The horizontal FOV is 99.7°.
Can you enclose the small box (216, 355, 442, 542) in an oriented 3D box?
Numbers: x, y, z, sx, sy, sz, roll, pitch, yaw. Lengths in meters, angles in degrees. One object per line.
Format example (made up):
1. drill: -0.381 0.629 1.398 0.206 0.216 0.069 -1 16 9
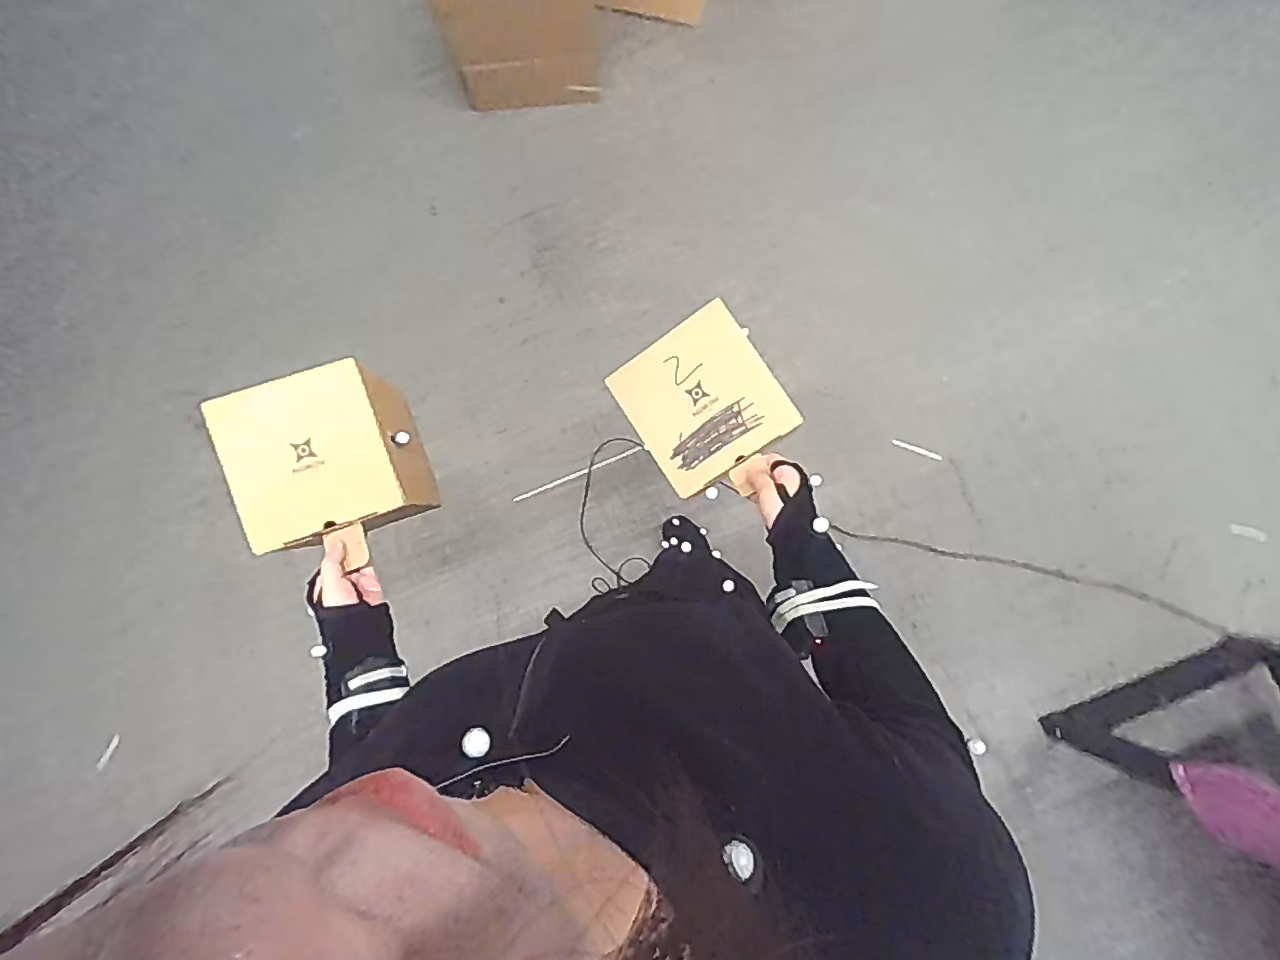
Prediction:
1. small box: -0.368 -0.033 0.674 0.168 0.176 0.179 -17 91 -7
